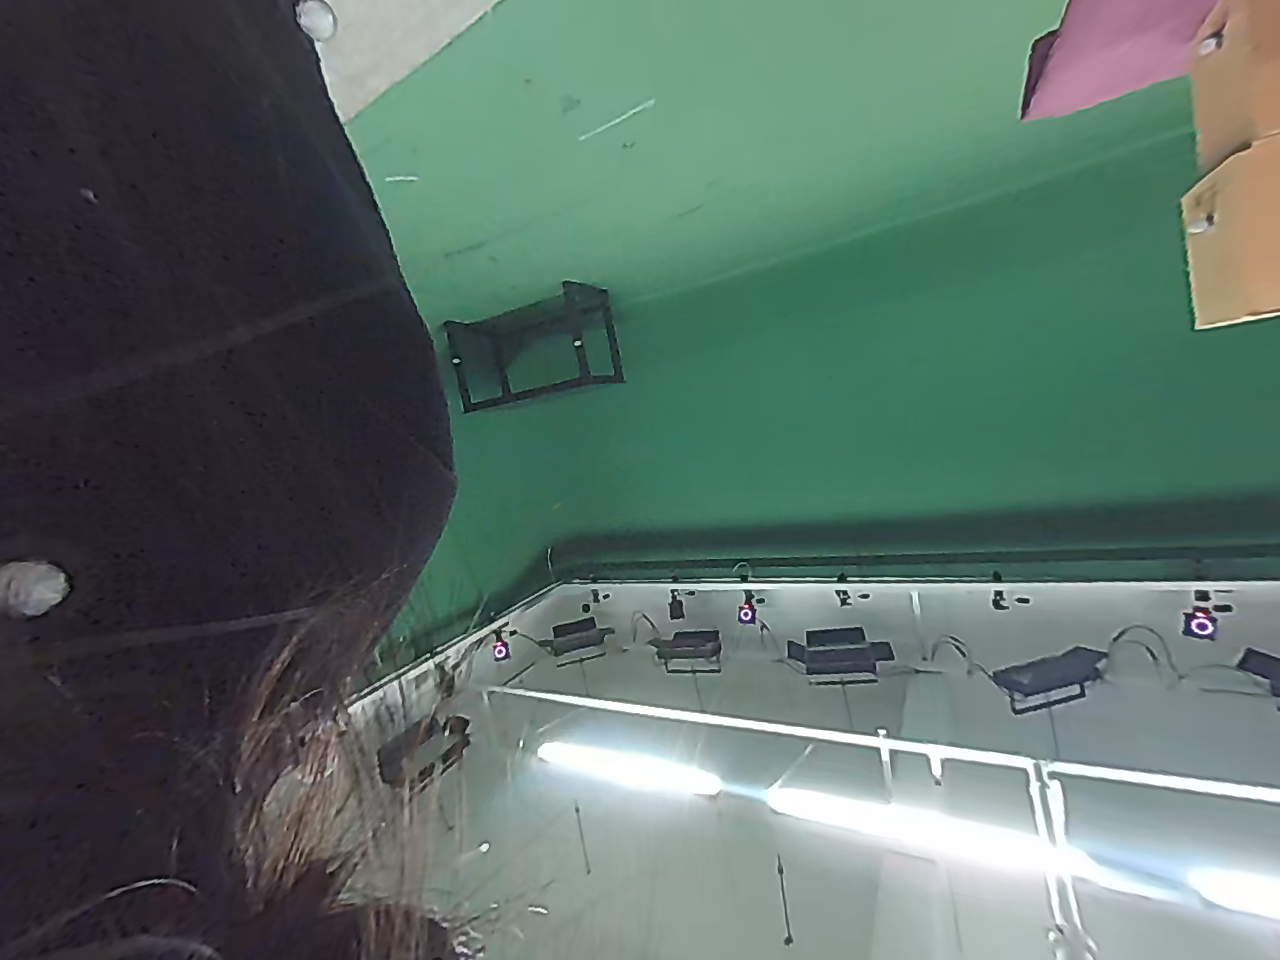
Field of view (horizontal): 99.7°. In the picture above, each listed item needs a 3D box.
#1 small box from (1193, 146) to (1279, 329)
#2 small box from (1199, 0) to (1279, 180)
[{"bbox_3d":[0.721,-0.266,0.556,0.179,0.176,0.168,-8,-175,33],"label":"small box"},{"bbox_3d":[0.691,-0.424,0.520,0.179,0.176,0.168,-8,-175,33],"label":"small box"}]
